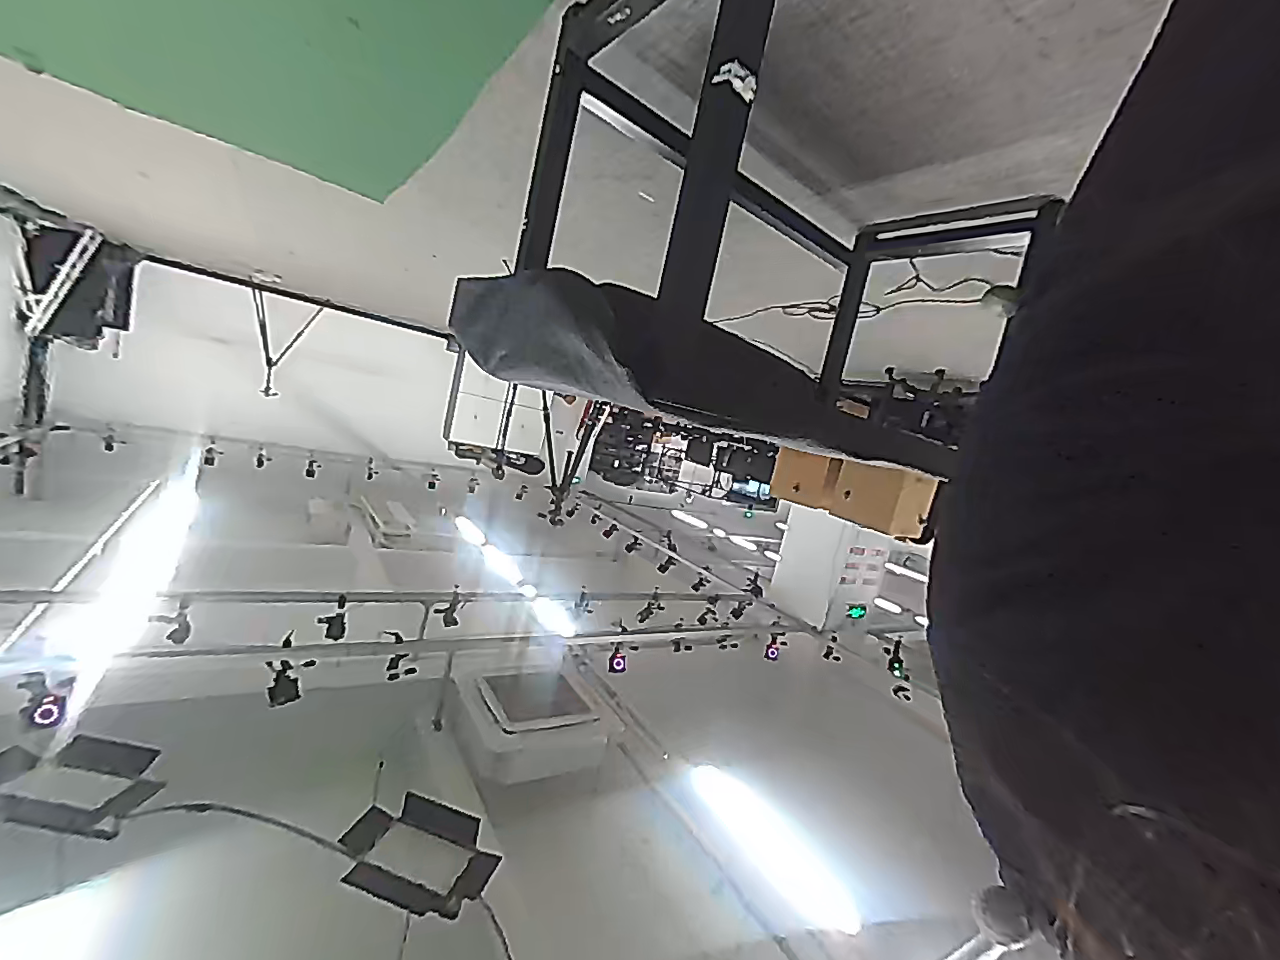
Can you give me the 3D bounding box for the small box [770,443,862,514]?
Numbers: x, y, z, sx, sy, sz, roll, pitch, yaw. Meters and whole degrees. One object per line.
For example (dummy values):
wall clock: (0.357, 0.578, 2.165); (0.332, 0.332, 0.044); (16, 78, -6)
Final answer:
small box: (0.513, -0.008, 1.572); (0.168, 0.176, 0.179); (8, -173, -39)
